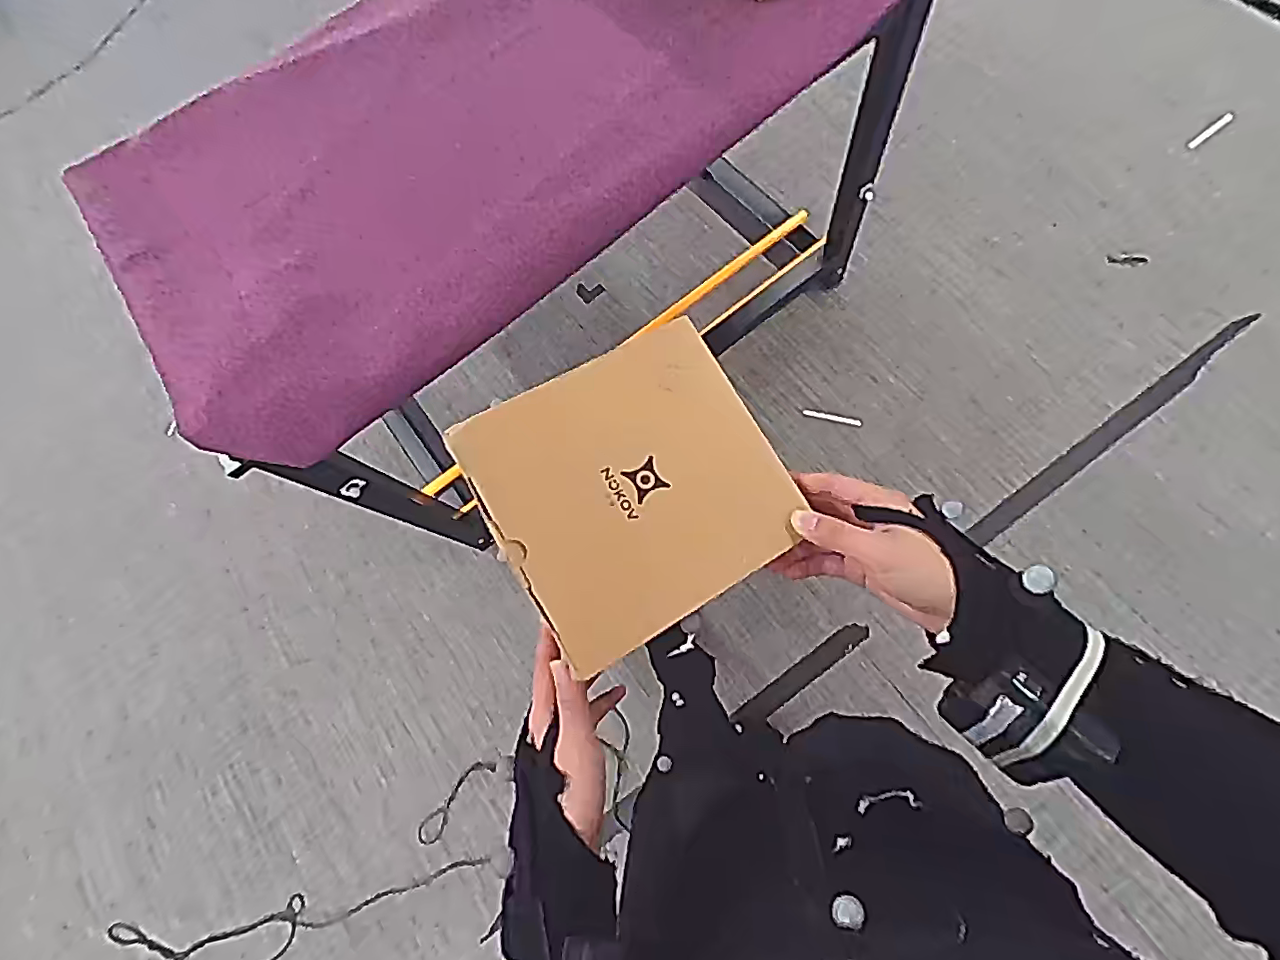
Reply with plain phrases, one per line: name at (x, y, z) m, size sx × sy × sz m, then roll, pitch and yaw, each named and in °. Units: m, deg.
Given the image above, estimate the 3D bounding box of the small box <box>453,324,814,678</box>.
small box at (-0.013, 0.020, 0.408) m, size 0.179 × 0.176 × 0.168 m, roll -29°, pitch 83°, yaw -13°
